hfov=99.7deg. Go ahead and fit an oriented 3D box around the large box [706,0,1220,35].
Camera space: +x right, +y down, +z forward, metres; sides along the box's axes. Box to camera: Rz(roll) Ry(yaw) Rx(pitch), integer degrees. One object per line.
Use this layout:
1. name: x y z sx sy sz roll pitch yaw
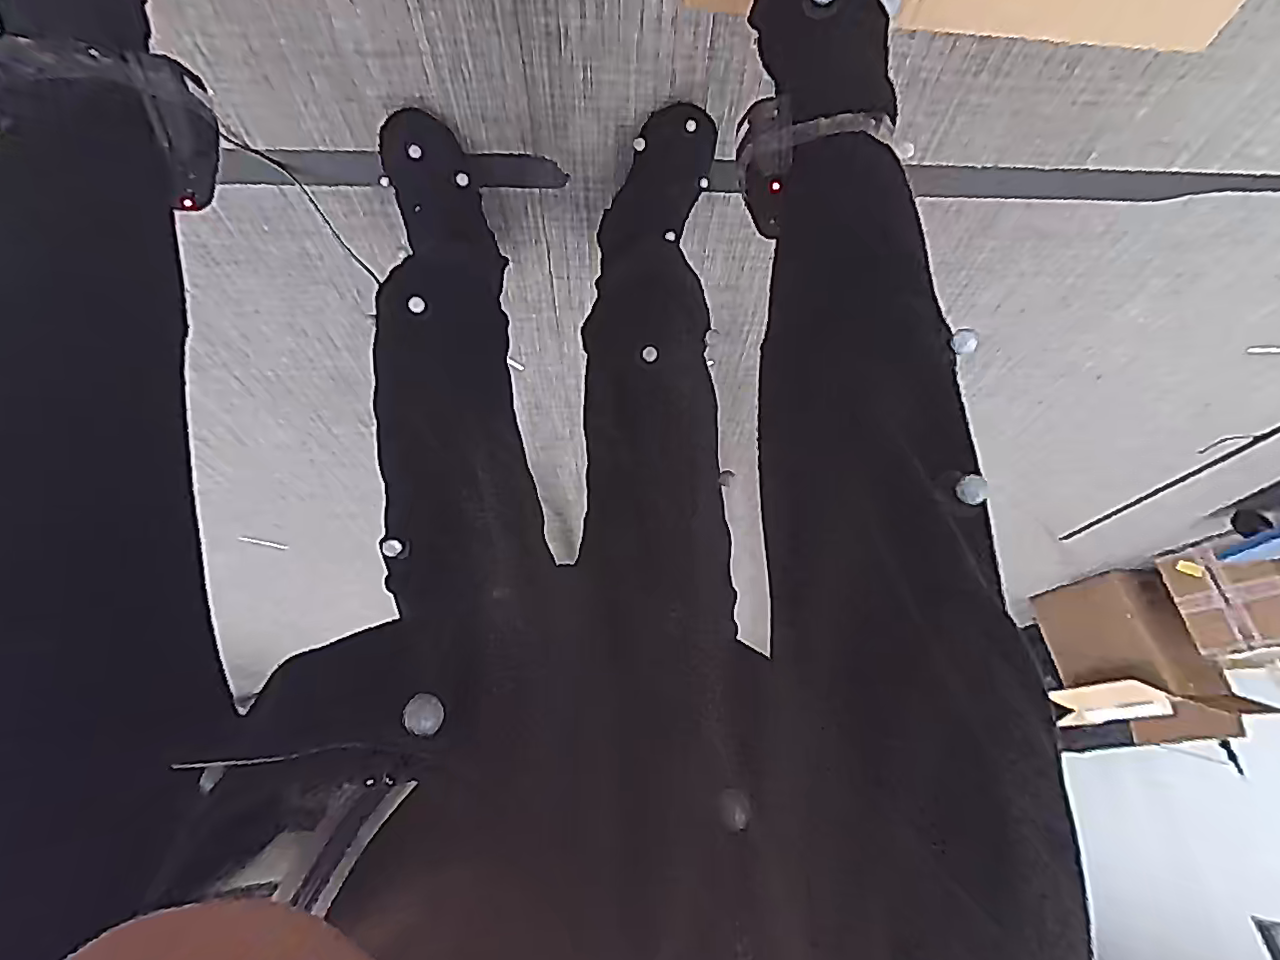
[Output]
1. large box: 0.235 -0.544 0.337 0.408 0.320 0.320 -1 153 -7
